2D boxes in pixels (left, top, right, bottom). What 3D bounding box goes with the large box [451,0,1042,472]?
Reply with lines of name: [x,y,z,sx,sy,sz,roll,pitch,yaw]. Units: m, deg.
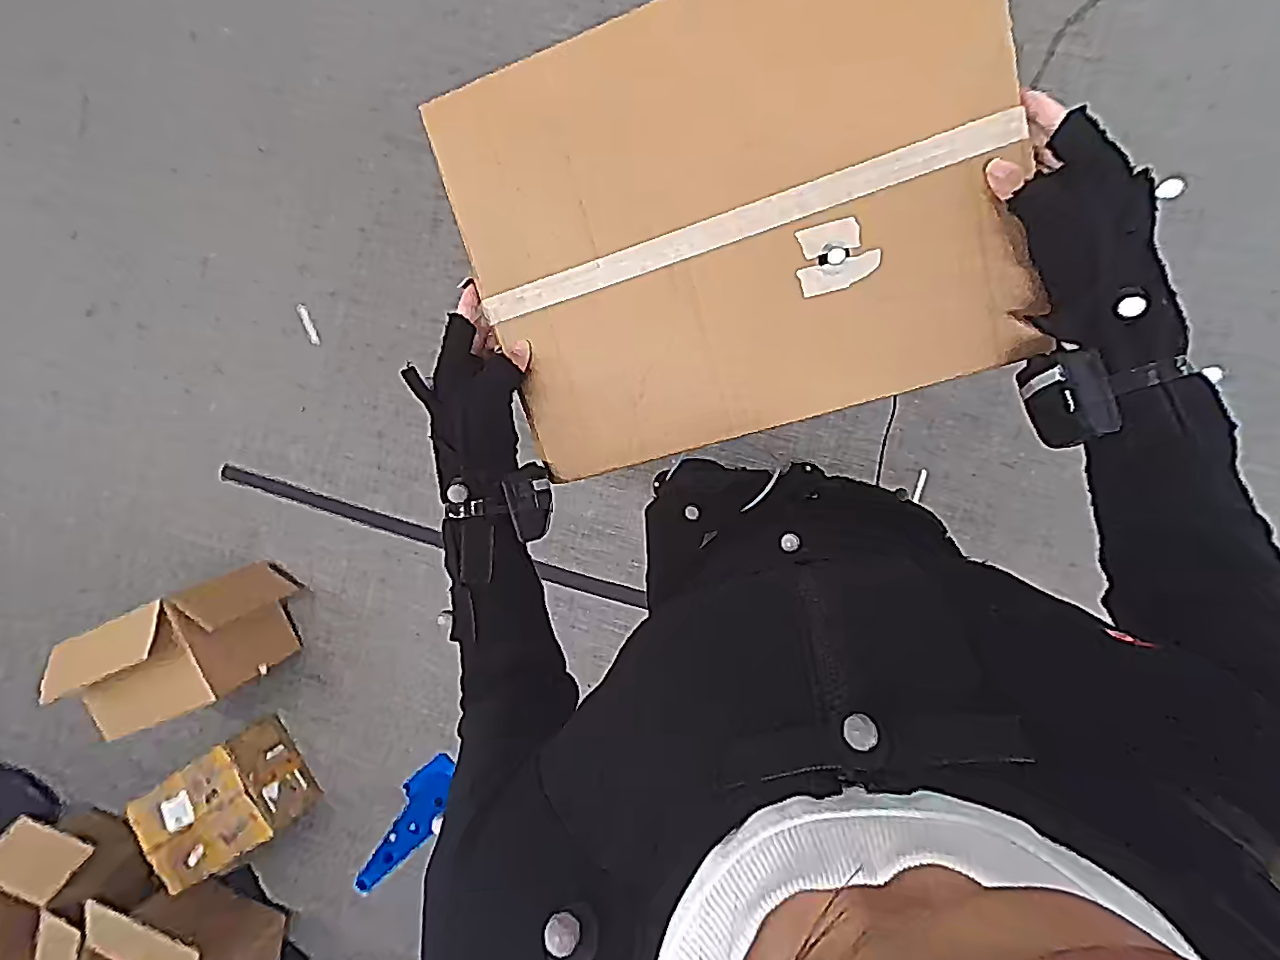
large box: [0.095,-0.233,0.563,0.408,0.320,0.320,-14,103,11]
